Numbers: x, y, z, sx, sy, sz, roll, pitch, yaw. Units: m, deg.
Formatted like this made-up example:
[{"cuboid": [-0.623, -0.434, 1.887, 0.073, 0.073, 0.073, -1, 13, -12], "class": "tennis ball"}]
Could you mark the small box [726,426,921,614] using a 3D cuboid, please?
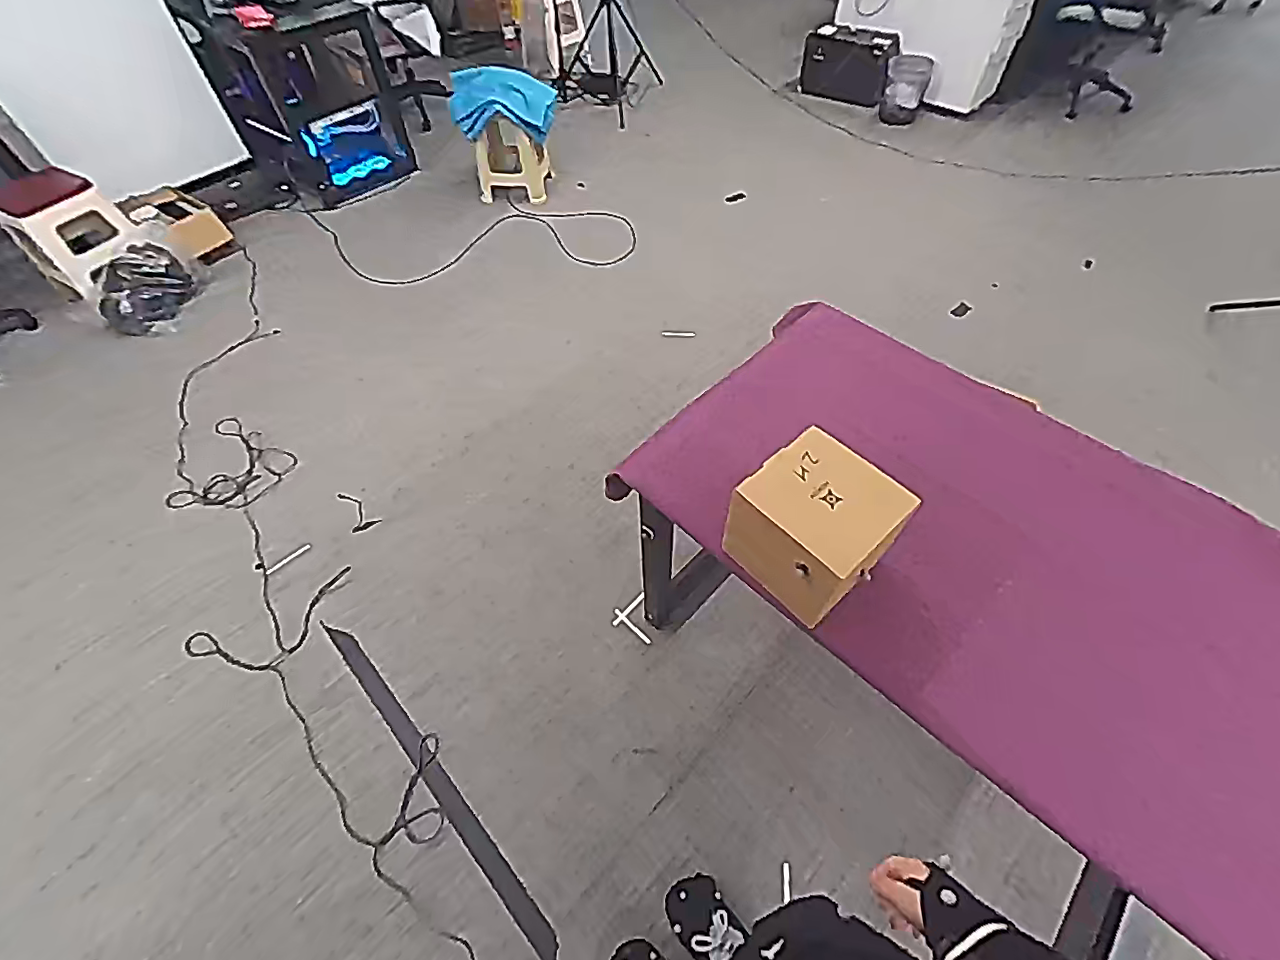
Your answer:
[{"cuboid": [0.241, 0.064, 0.756, 0.168, 0.176, 0.179, -36, 61, -21], "class": "small box"}]
